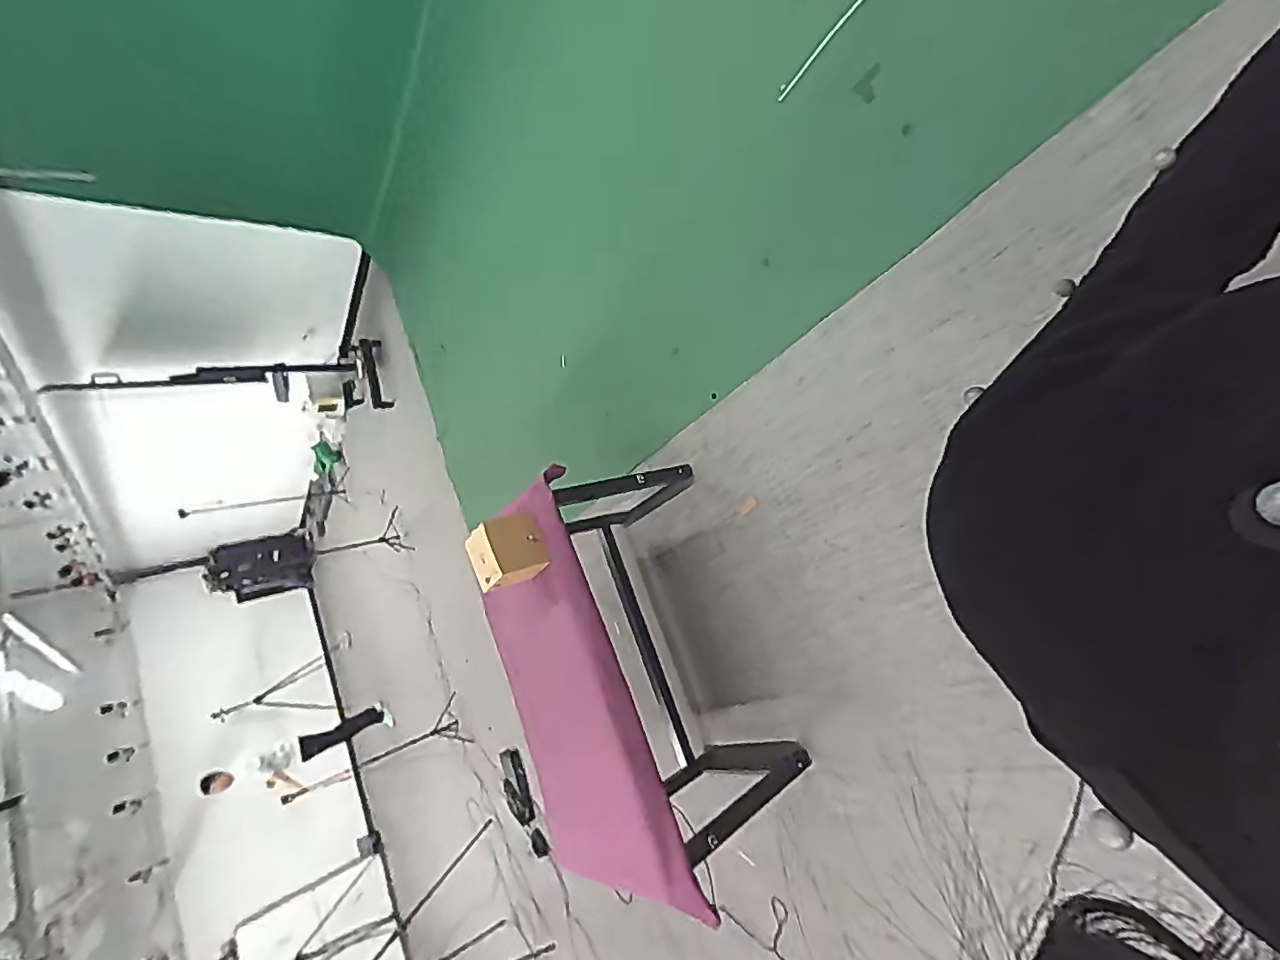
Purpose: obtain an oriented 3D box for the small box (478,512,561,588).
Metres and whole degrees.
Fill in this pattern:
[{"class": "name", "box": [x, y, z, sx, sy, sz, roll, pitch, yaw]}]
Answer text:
[{"class": "small box", "box": [-0.372, 0.210, 1.672, 0.168, 0.176, 0.179, -41, 68, 47]}]
